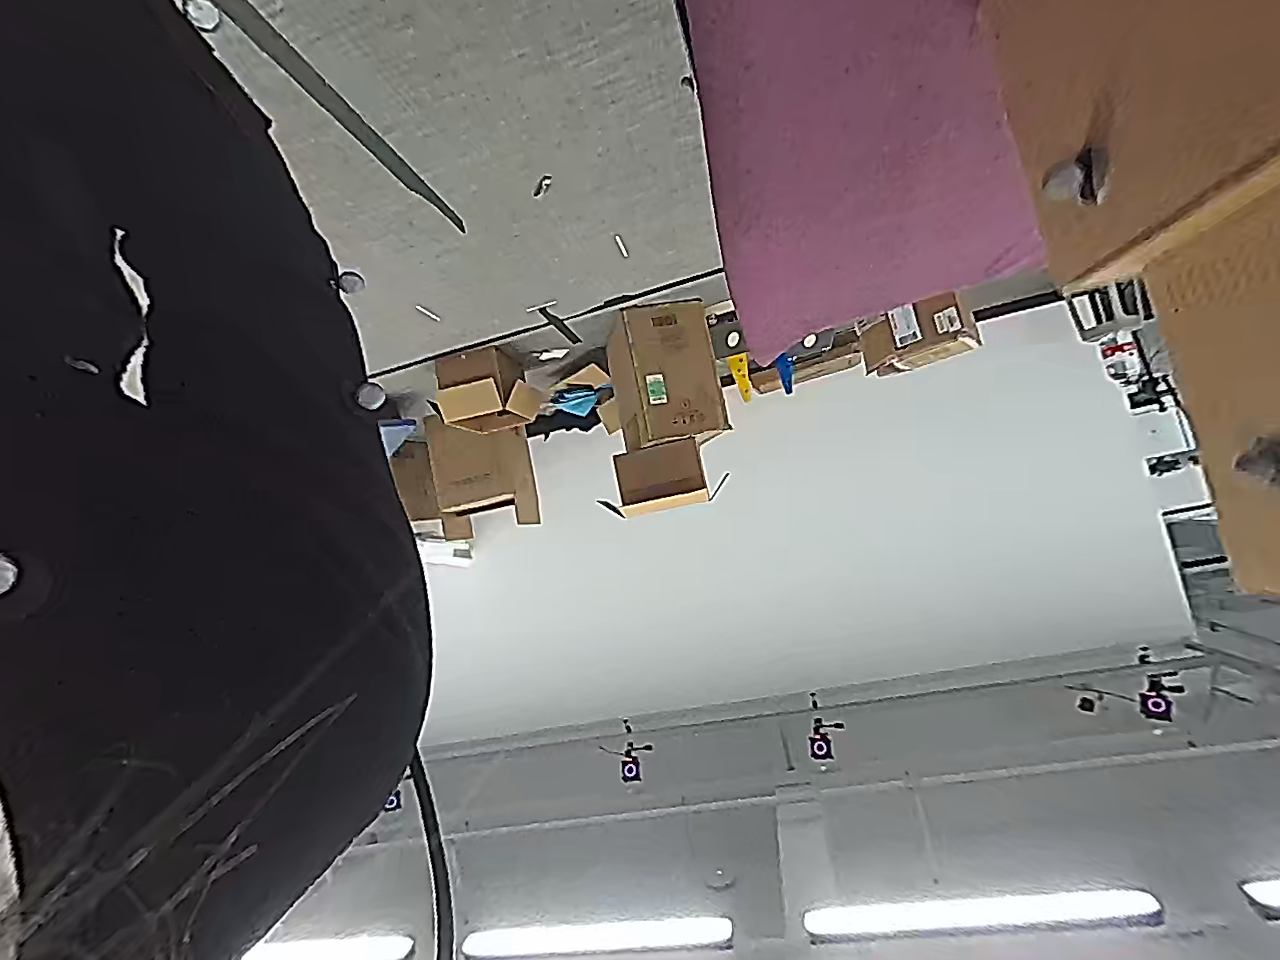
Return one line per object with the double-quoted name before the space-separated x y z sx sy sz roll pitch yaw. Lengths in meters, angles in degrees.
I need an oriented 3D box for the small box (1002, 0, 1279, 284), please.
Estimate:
"small box" 0.269 -0.204 0.201 0.168 0.176 0.179 -14 176 9
